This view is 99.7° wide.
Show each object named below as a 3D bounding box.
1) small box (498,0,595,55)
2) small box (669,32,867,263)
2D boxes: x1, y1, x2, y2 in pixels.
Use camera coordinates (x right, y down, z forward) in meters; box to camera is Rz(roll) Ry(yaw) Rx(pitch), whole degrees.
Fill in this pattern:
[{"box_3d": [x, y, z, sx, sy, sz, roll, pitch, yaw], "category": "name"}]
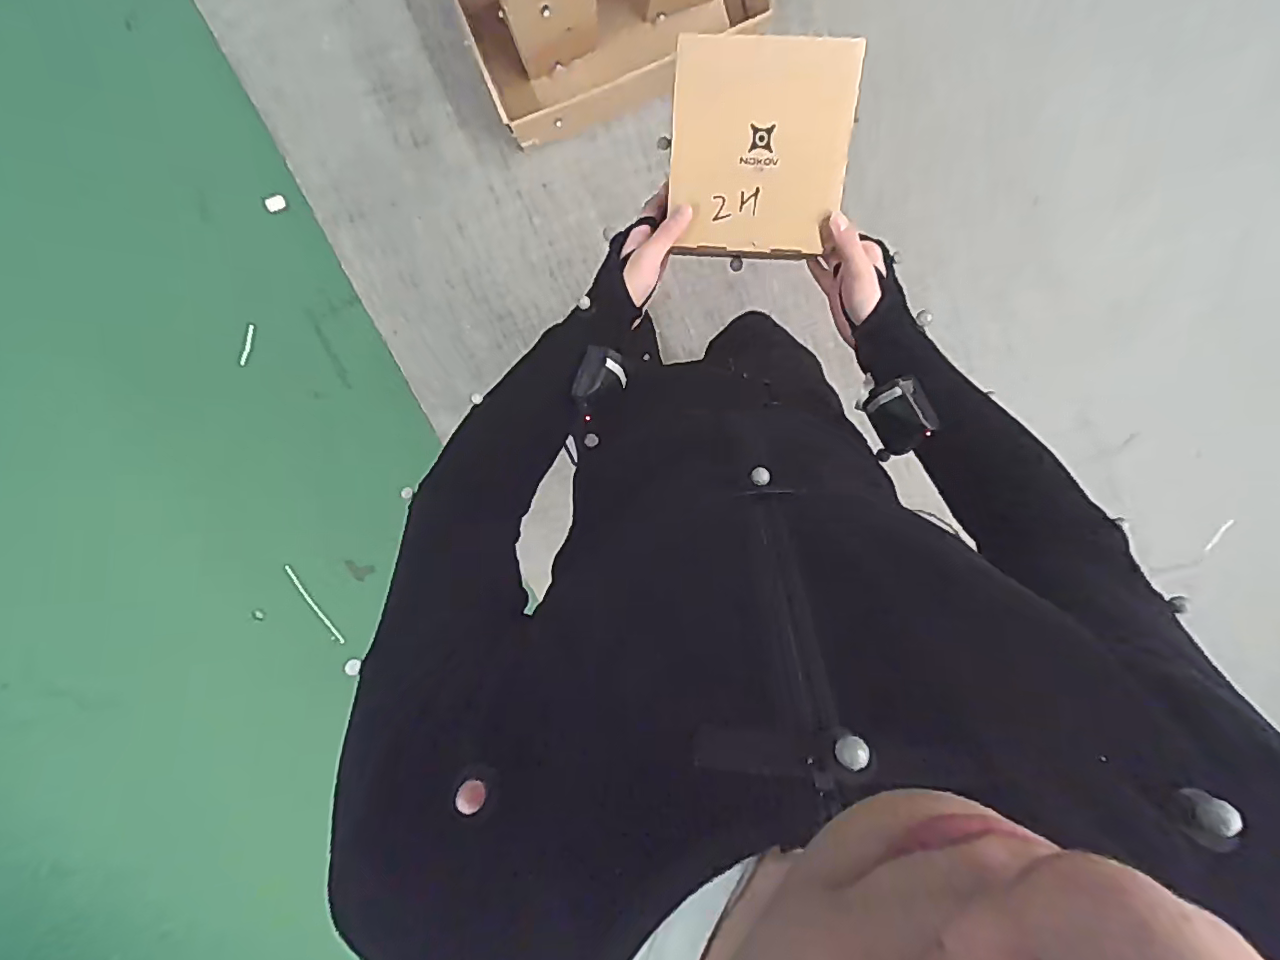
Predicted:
[{"box_3d": [-0.191, -0.931, 0.982, 0.168, 0.176, 0.179, -23, 109, 6], "category": "small box"}, {"box_3d": [0.119, -0.334, 0.577, 0.168, 0.176, 0.179, 5, 110, 3], "category": "small box"}]
